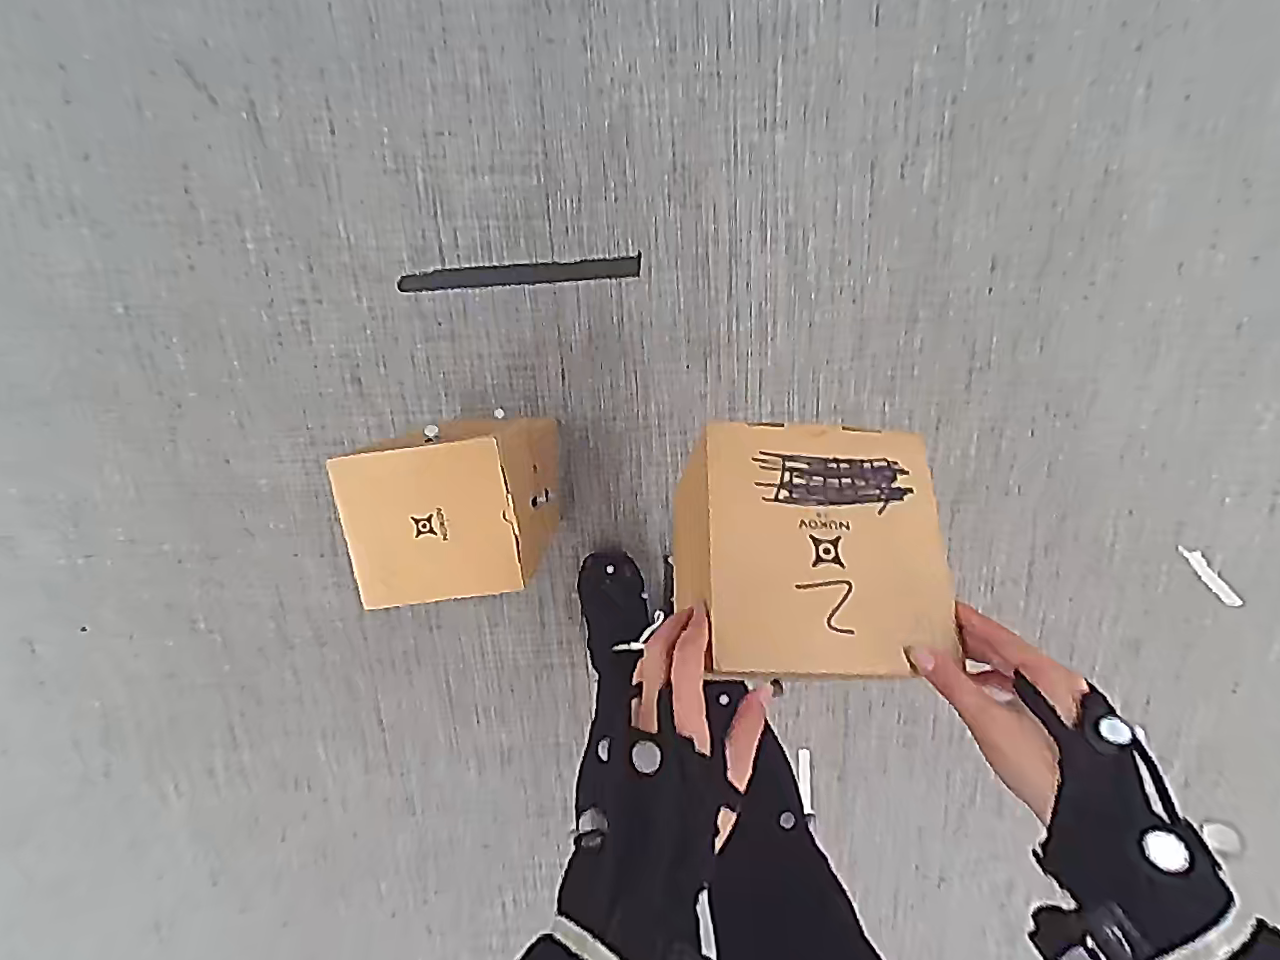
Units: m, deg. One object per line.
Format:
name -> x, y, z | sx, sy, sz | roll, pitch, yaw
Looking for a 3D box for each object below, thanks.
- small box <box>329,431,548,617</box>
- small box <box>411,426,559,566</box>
small box -> -0.216, 0.040, 0.630 | 0.179, 0.176, 0.168 | -8, 101, 0
small box -> -0.213, 0.016, 0.791 | 0.168, 0.176, 0.179 | -1, 101, -1
